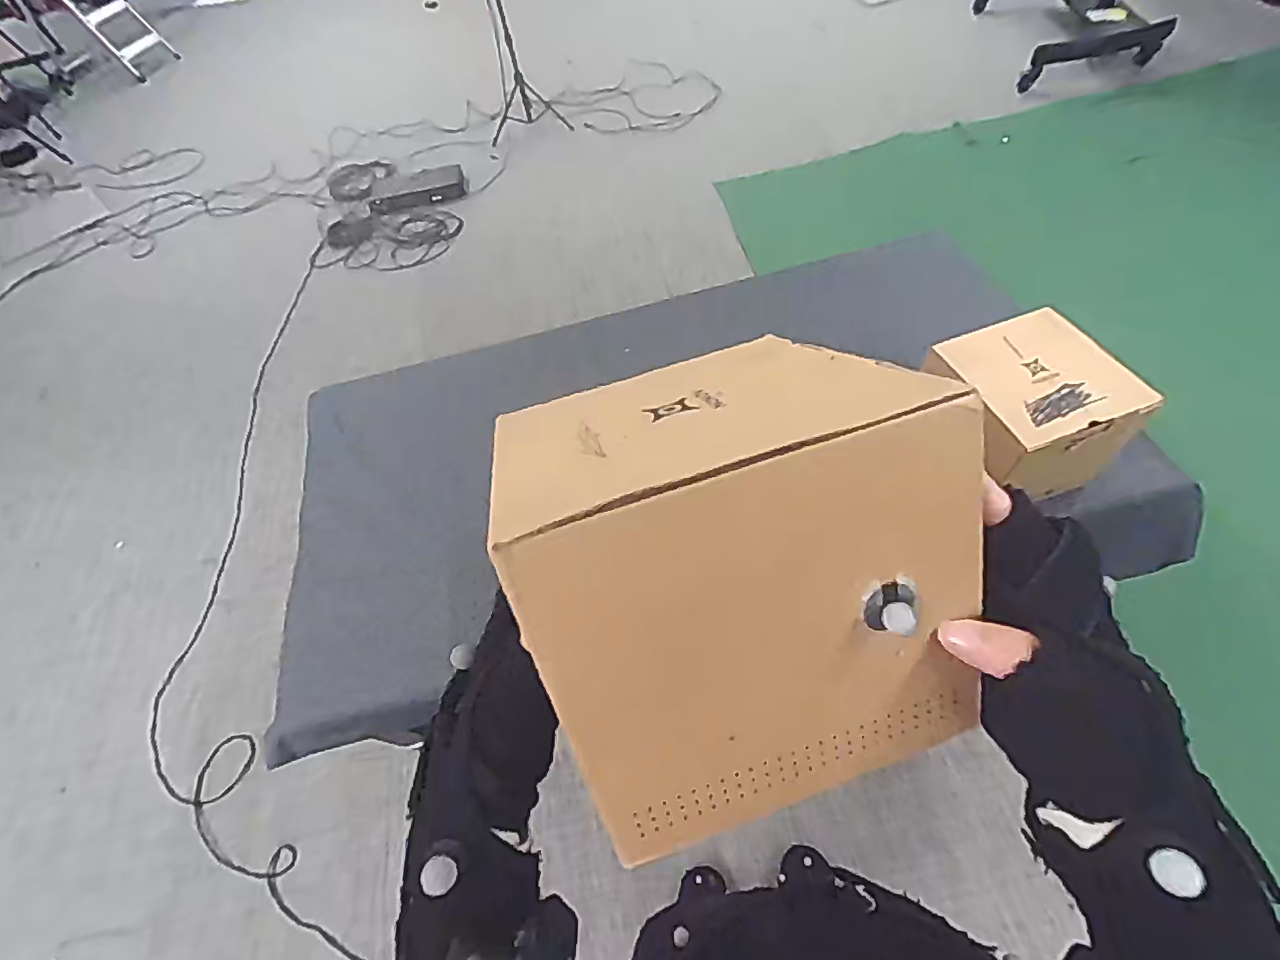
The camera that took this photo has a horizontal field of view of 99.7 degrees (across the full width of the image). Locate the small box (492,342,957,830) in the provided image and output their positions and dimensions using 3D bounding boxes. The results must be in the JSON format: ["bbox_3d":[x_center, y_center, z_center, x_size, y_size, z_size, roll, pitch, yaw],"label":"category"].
[{"bbox_3d":[0.035,0.038,0.292,0.179,0.176,0.168,-17,23,-6],"label":"small box"}]

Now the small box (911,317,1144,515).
[{"bbox_3d":[0.466,-0.073,0.702,0.168,0.176,0.179,-18,55,-3],"label":"small box"}]
